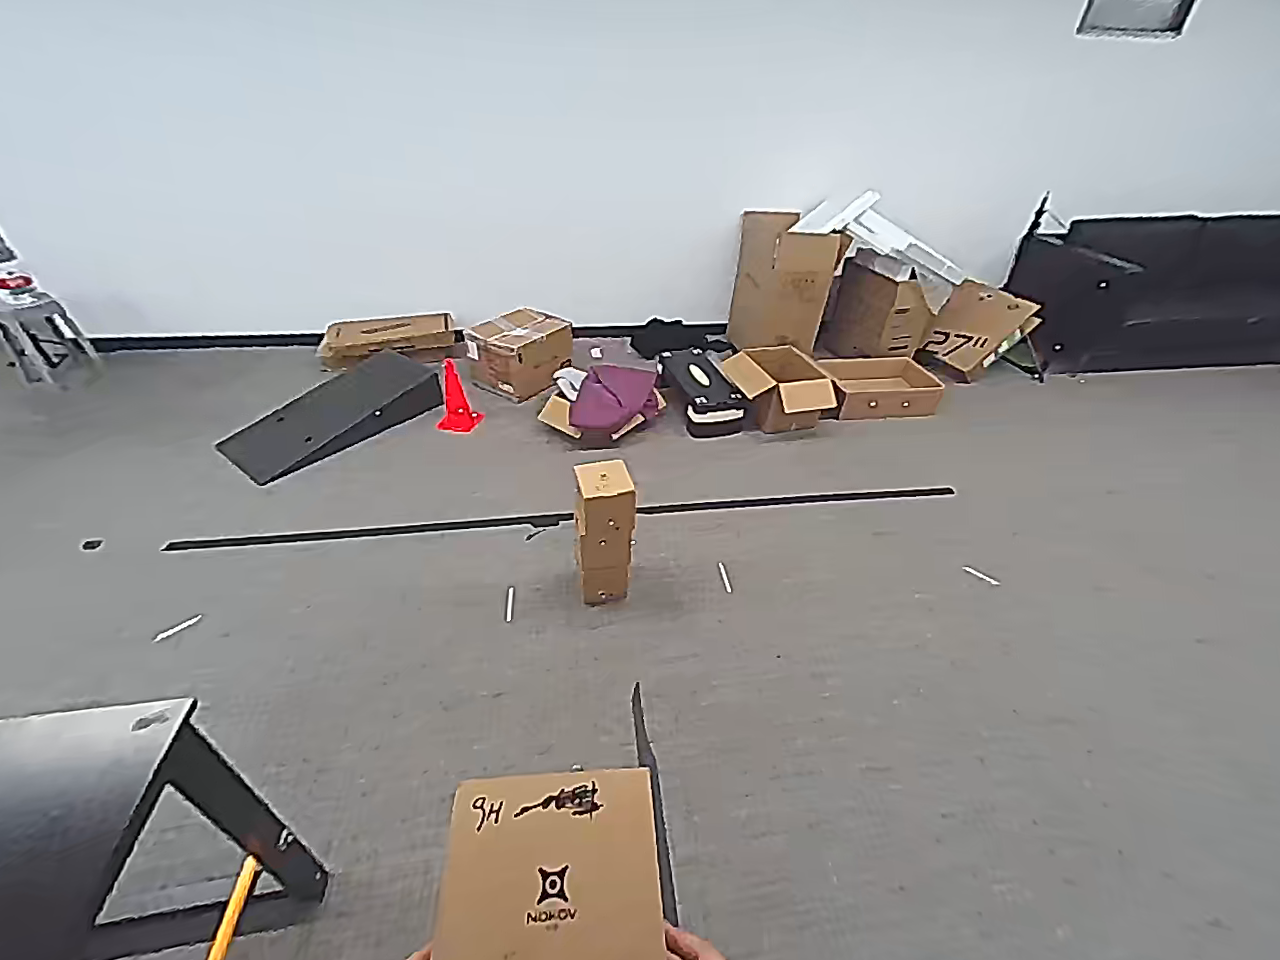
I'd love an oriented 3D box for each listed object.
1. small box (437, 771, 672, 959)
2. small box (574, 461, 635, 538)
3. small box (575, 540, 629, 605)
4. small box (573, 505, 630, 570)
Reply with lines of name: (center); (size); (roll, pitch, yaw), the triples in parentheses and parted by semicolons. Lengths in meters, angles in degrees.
small box: (-0.063, 0.369, 0.450); (0.168, 0.176, 0.179); (-2, 44, -5)
small box: (-0.119, 0.062, 1.763); (0.168, 0.176, 0.179); (-10, 39, -13)
small box: (-0.141, 0.324, 1.963); (0.168, 0.176, 0.179); (-9, 40, -12)
small box: (-0.132, 0.191, 1.866); (0.179, 0.176, 0.168); (-7, 38, -11)
